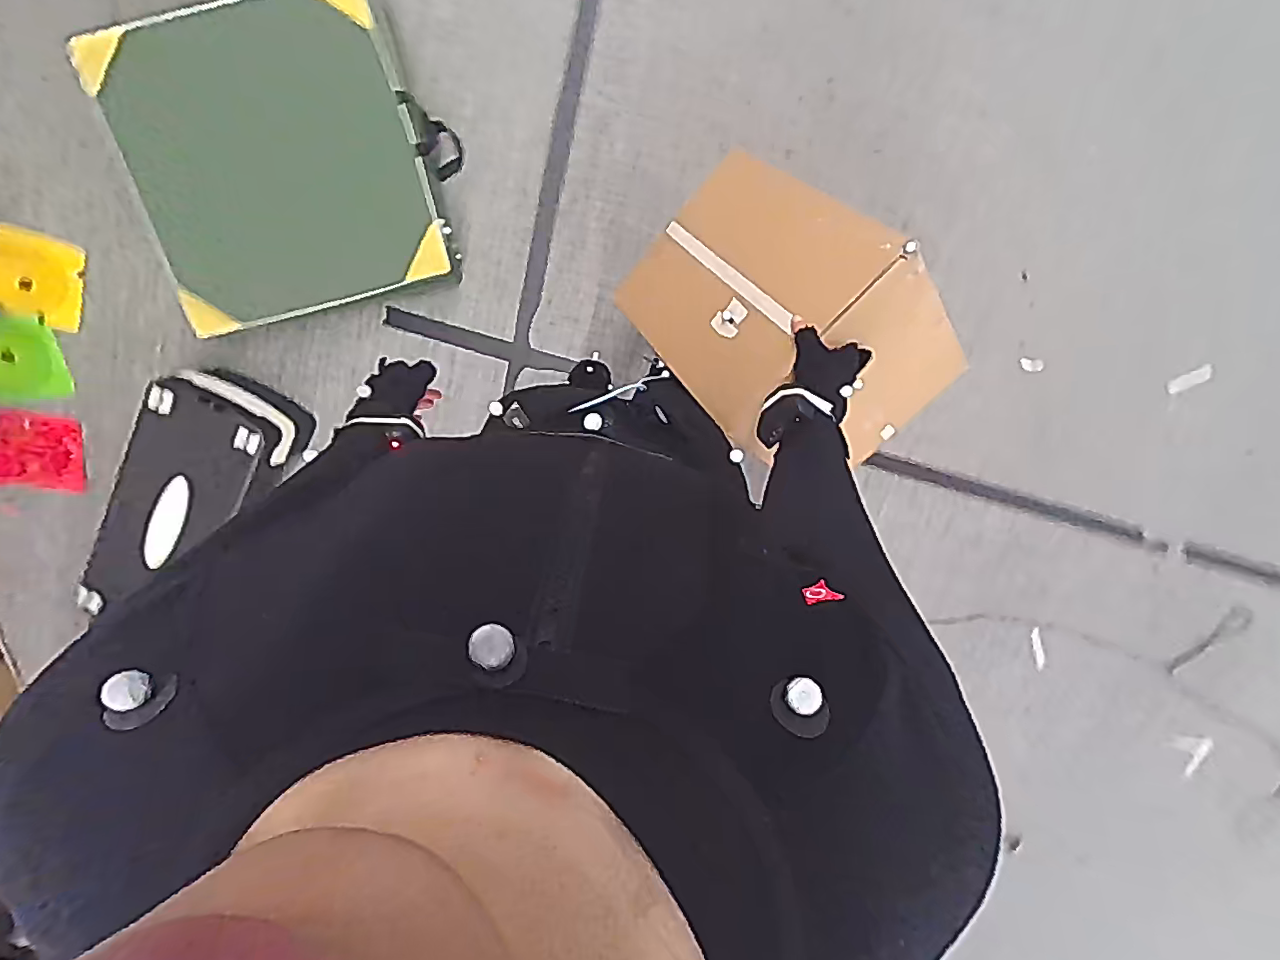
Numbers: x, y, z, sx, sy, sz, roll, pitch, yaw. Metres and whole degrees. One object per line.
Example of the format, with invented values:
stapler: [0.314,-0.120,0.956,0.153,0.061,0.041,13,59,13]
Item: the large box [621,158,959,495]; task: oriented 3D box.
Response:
large box: [0.238,-0.248,0.910,0.320,0.408,0.320,-45,140,18]
